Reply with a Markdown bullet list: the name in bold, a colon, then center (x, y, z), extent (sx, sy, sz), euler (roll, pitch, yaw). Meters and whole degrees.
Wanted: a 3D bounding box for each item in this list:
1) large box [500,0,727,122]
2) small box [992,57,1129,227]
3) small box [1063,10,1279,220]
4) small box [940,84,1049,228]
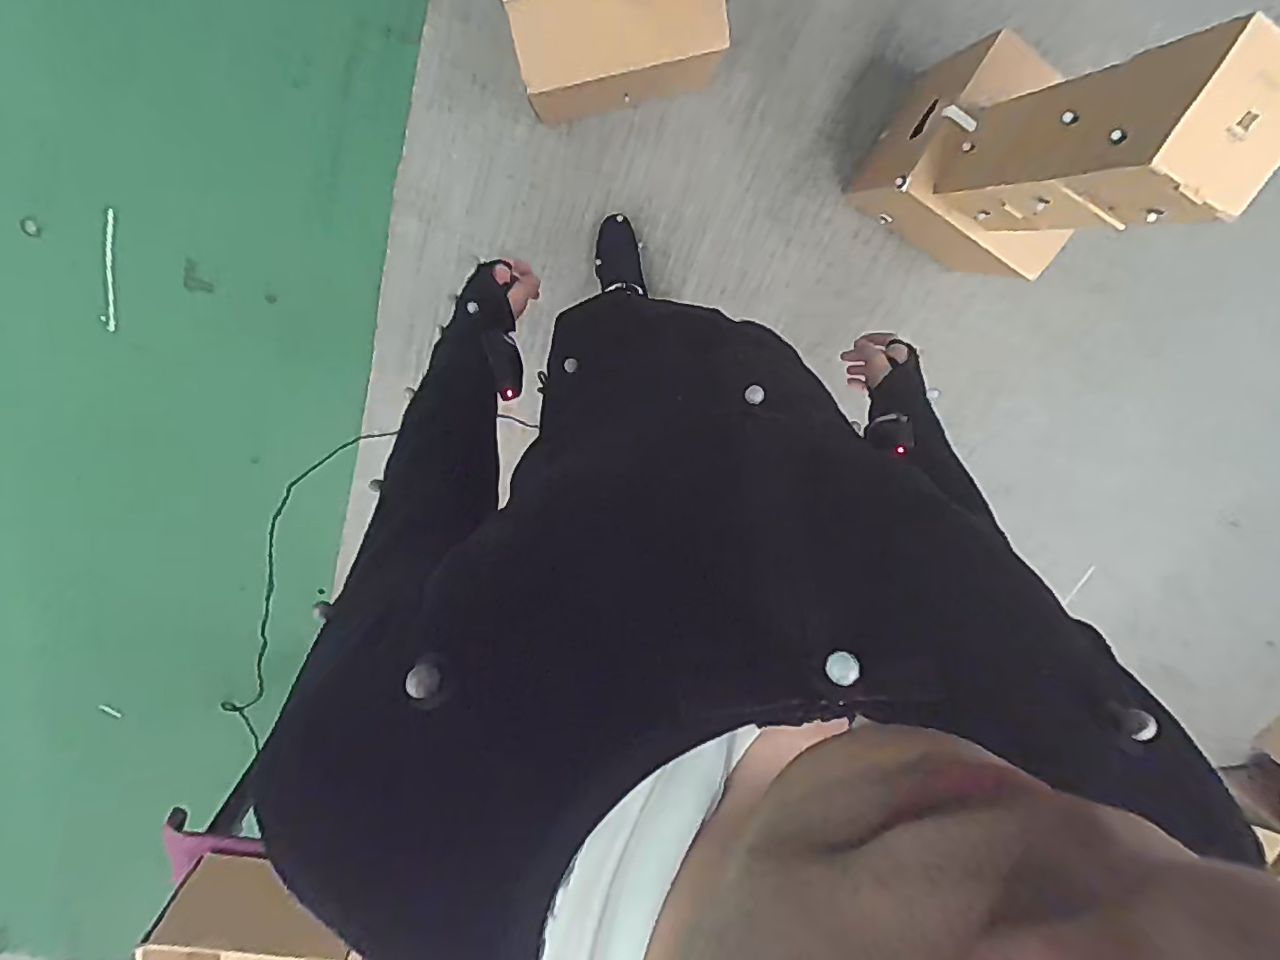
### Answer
- **large box**: center (-0.065, -0.977, 1.101), extent (0.408, 0.320, 0.320), euler (-12, 113, 3)
- **small box**: center (0.736, -0.544, 0.902), extent (0.168, 0.176, 0.179), euler (23, 110, -13)
- **small box**: center (0.746, -0.481, 0.751), extent (0.168, 0.176, 0.179), euler (22, 110, -13)
- **small box**: center (0.724, -0.613, 1.048), extent (0.168, 0.176, 0.179), euler (23, 112, -14)
